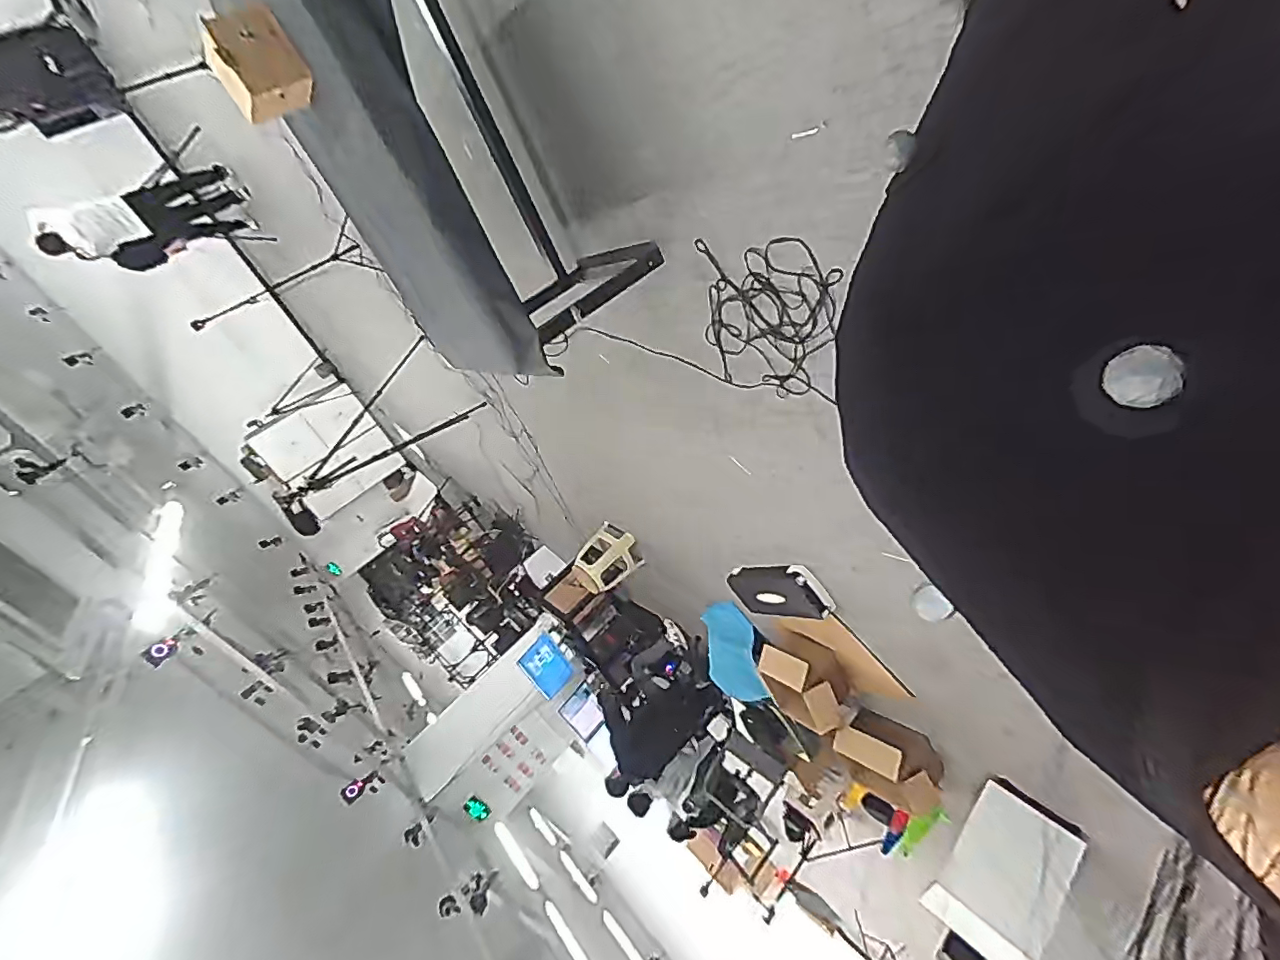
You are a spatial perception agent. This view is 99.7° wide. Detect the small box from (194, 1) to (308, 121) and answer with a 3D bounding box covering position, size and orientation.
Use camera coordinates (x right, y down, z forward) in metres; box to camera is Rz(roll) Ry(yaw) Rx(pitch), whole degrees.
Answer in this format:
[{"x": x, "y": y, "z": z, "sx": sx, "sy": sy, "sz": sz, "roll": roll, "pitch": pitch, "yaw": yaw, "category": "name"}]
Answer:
[{"x": -0.979, "y": -1.063, "z": 1.374, "sx": 0.179, "sy": 0.176, "sz": 0.168, "roll": 11, "pitch": 136, "yaw": 56, "category": "small box"}]
